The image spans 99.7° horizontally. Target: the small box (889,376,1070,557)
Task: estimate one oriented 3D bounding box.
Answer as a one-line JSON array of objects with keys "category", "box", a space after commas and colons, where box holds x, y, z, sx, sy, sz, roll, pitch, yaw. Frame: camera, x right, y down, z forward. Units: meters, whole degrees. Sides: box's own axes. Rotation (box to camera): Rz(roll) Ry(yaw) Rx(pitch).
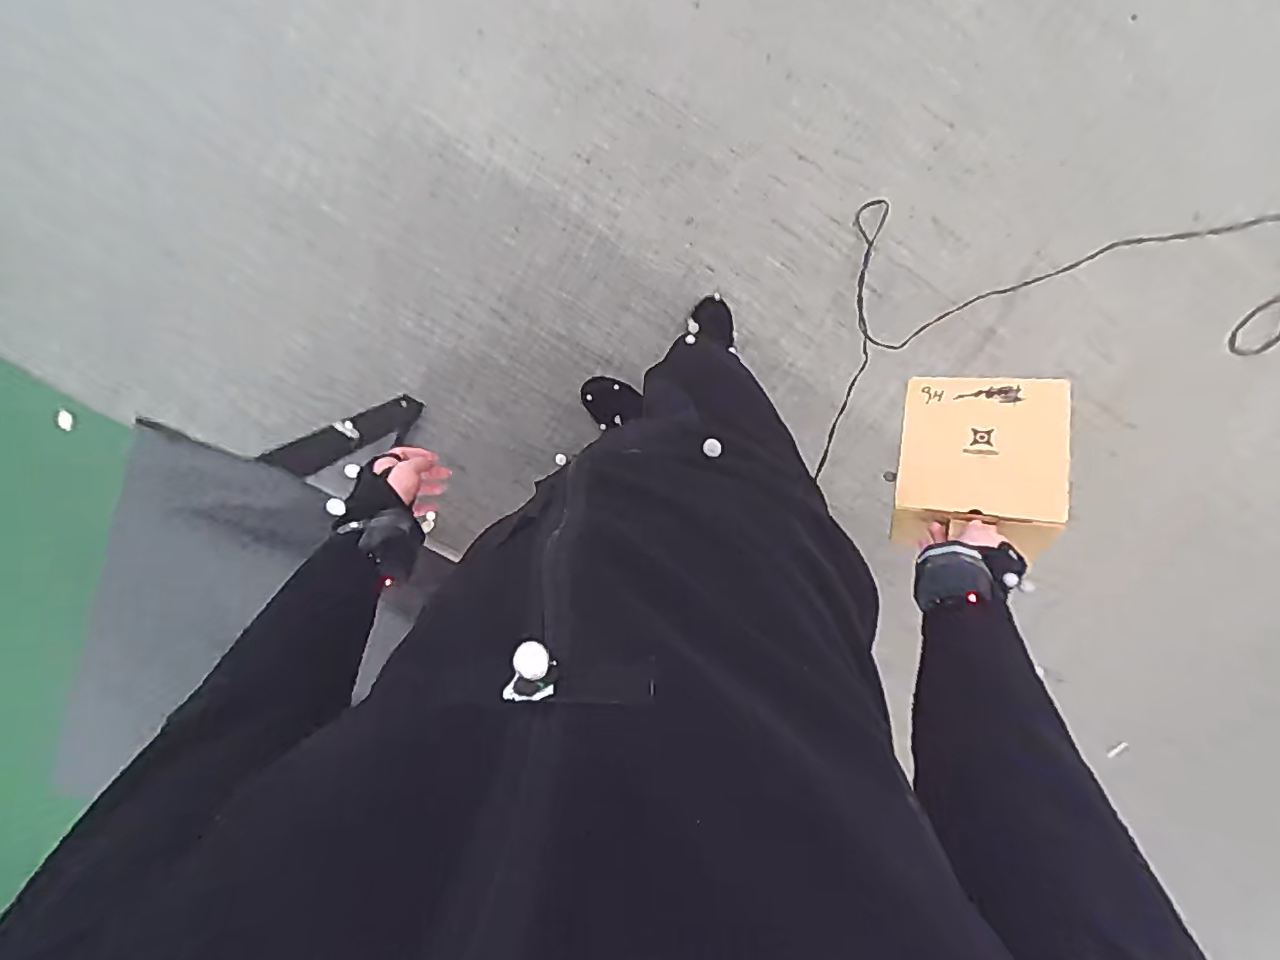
[{"category": "small box", "box": [0.417, -0.012, 0.686, 0.168, 0.176, 0.179, 8, 72, 26]}]
